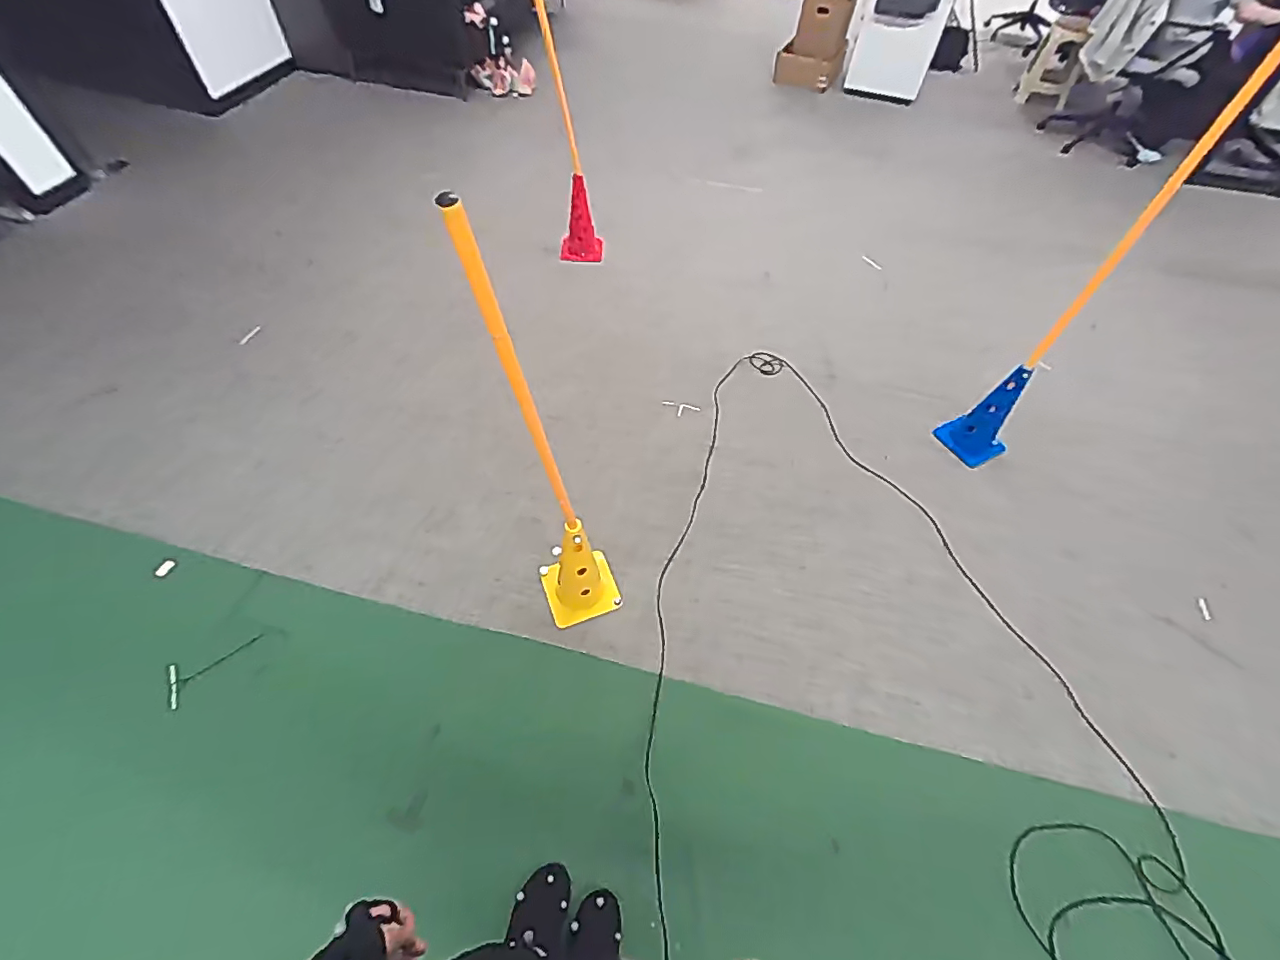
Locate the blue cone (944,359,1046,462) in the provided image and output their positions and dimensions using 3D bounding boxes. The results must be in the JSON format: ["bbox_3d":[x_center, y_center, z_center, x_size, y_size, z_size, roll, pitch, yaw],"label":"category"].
[{"bbox_3d":[1.230,-0.257,1.834,0.193,0.380,0.192,-23,58,-20],"label":"blue cone"}]
